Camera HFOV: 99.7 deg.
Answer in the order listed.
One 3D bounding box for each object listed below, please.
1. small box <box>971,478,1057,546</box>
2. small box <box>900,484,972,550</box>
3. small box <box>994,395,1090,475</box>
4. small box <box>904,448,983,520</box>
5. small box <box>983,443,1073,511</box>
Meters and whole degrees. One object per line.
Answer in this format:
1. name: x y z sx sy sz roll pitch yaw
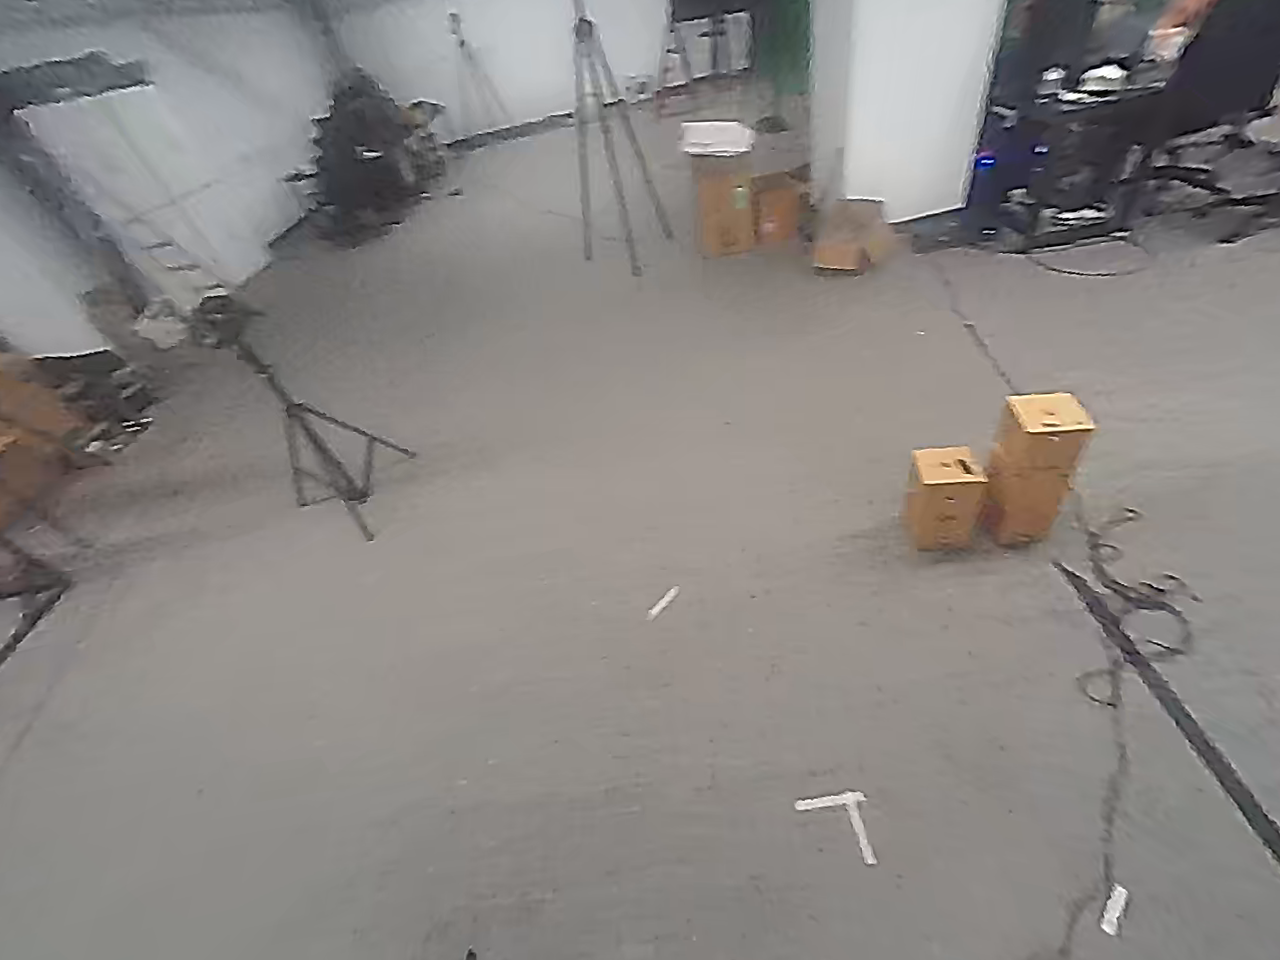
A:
1. small box: 1.267 0.100 1.849 0.168 0.176 0.179 -10 42 7
2. small box: 1.025 0.123 1.892 0.168 0.176 0.179 -7 43 11
3. small box: 1.200 -0.134 1.631 0.168 0.176 0.179 -4 42 13
4. small box: 0.986 0.015 1.773 0.179 0.176 0.168 -4 43 13
5. small box: 1.235 -0.017 1.741 0.179 0.176 0.168 -9 42 8
